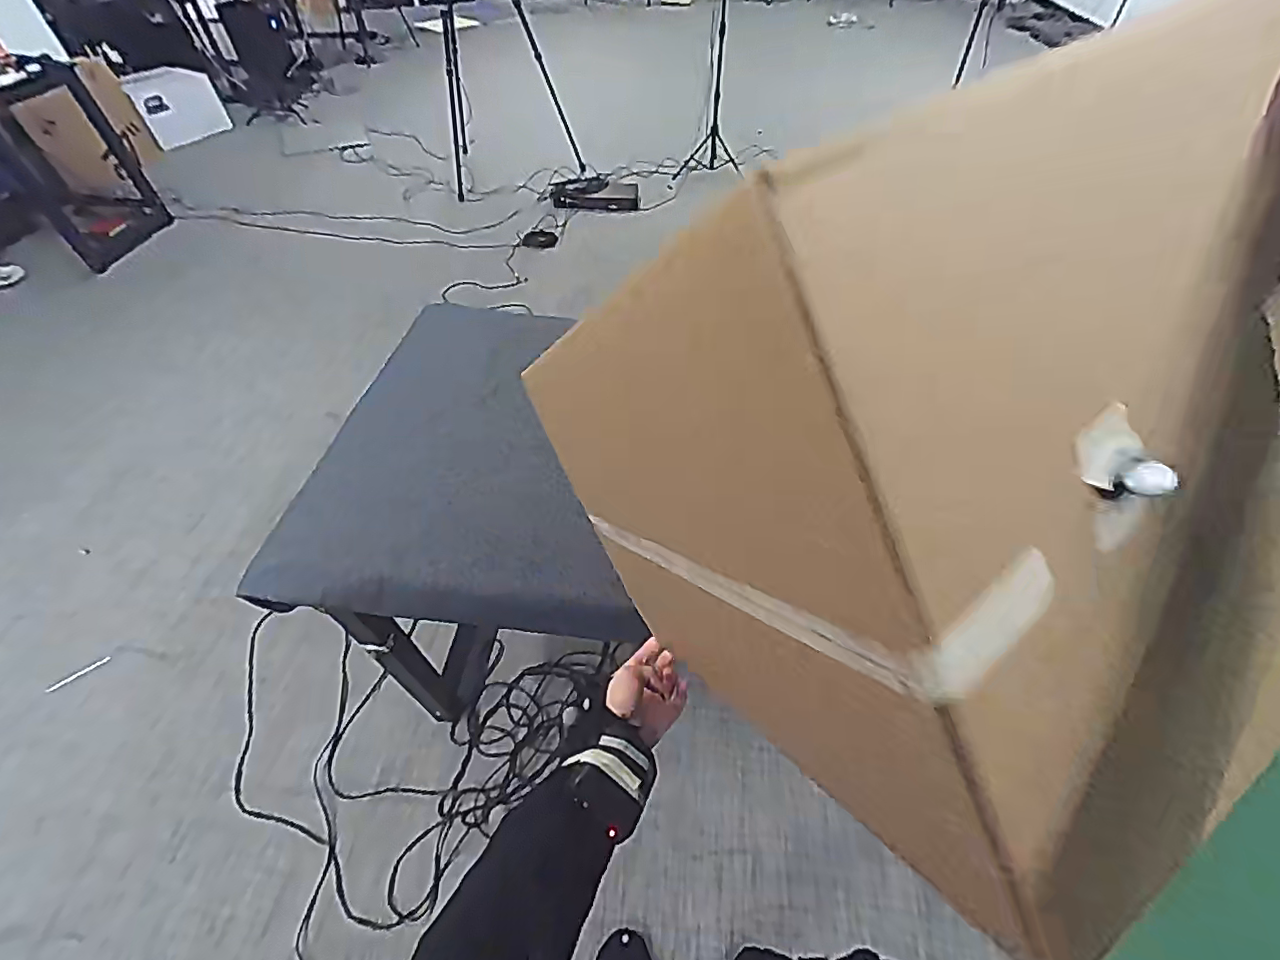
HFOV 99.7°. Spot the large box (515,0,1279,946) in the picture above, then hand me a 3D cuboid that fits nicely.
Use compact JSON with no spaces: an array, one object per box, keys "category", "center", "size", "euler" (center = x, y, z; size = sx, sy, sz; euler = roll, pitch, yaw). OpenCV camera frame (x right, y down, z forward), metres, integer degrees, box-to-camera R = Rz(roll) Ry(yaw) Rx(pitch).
[{"category":"large box","center":[0.145,-0.023,0.401],"size":[0.320,0.320,0.408],"euler":[-31,15,-18]}]
